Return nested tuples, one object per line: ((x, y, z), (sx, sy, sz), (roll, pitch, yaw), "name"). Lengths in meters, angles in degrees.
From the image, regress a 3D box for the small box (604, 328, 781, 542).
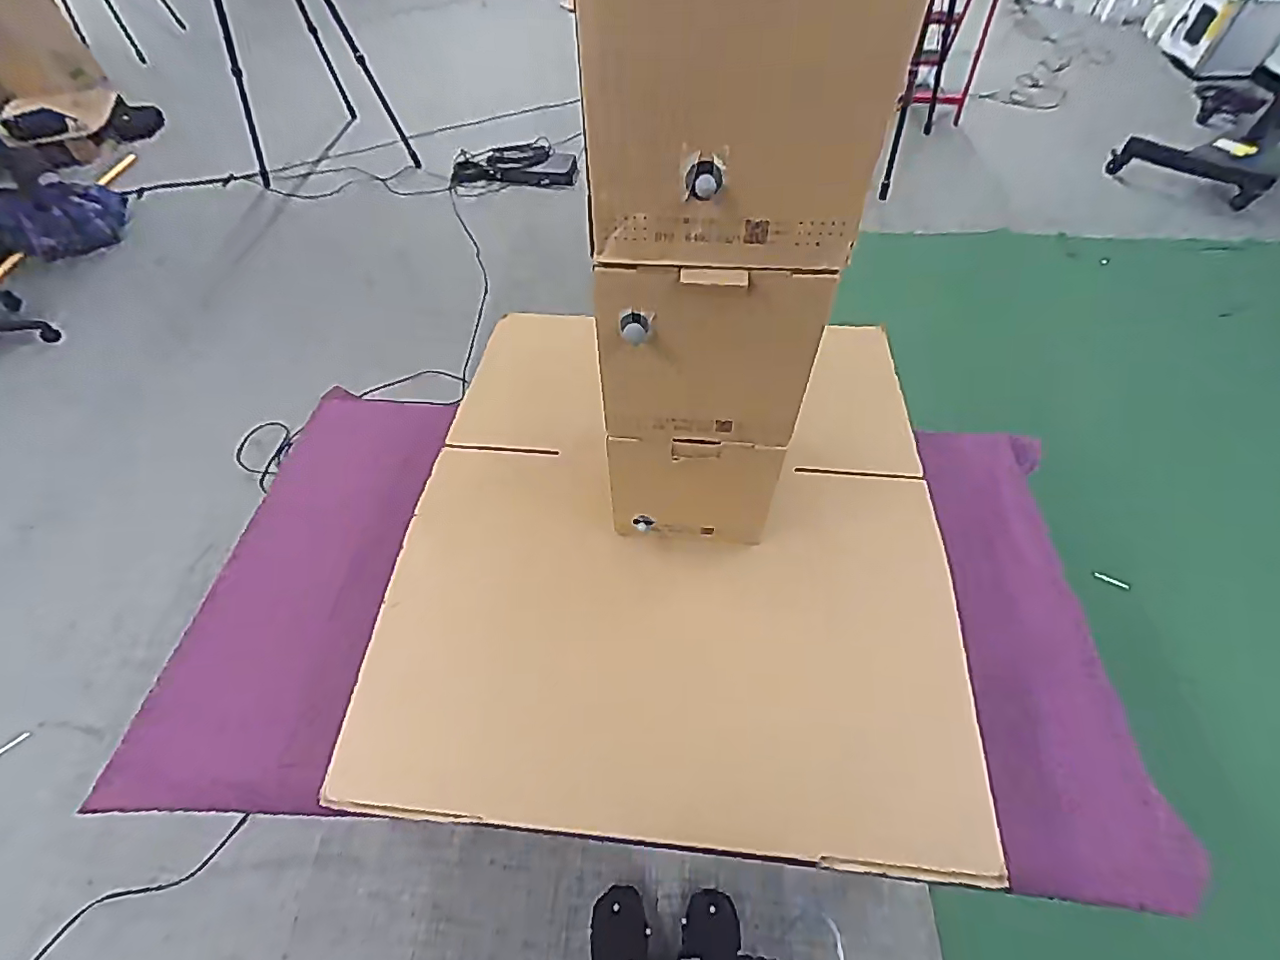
((0.058, -0.047, 0.606), (0.168, 0.176, 0.179), (4, 52, 4), "small box")

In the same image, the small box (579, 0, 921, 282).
((0.054, -0.254, 0.353), (0.168, 0.176, 0.179), (2, 52, 2), "small box")
